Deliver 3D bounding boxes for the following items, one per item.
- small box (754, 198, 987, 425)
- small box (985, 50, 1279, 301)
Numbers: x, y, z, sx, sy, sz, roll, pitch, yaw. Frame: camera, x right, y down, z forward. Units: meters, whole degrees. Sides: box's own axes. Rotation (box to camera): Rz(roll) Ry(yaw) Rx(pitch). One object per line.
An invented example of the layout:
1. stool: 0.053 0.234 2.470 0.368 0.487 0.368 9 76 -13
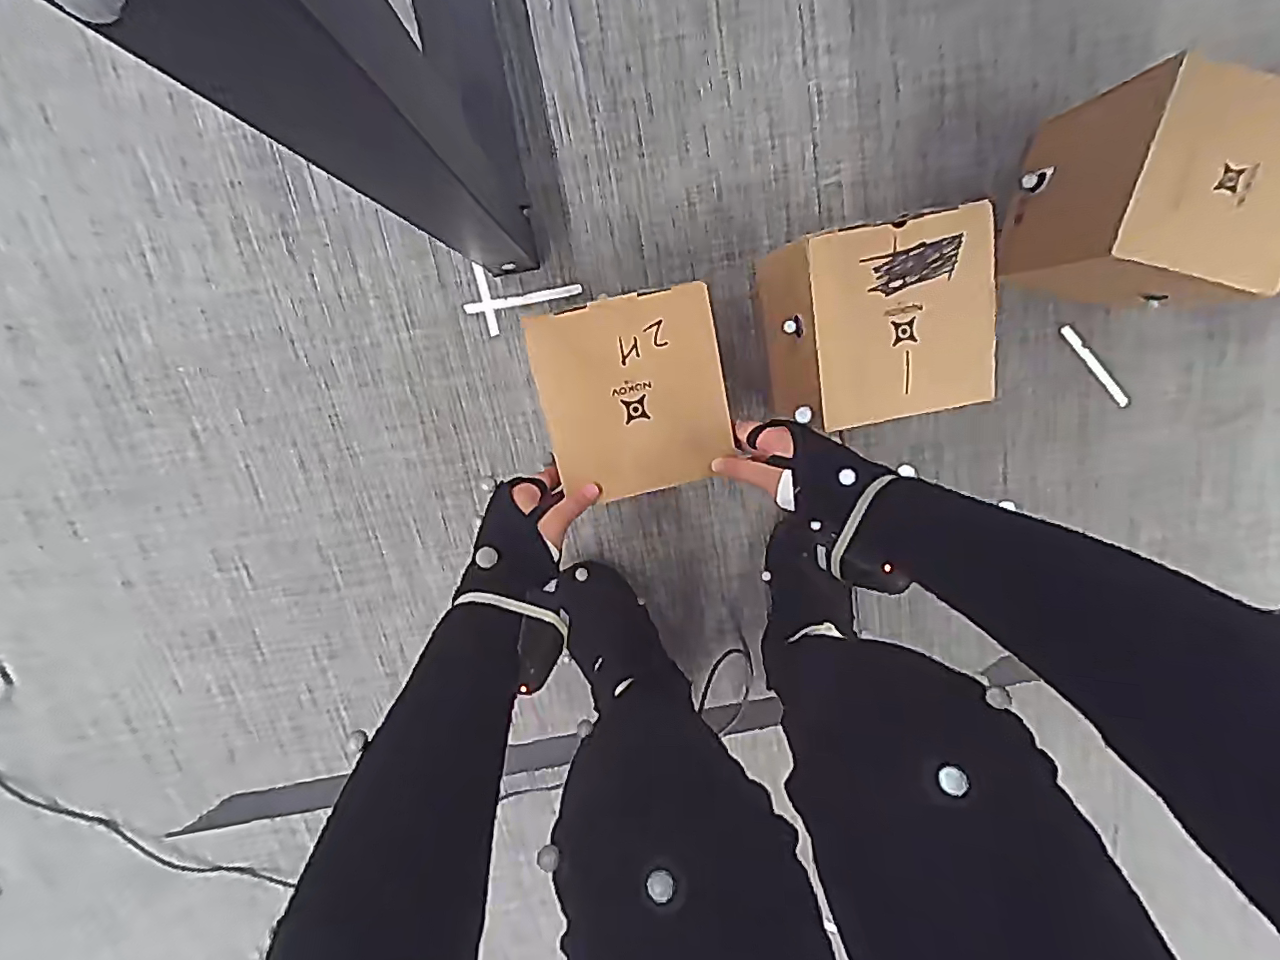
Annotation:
1. small box: 0.225 -0.167 0.563 0.168 0.176 0.179 -11 106 0
2. small box: 0.503 -0.284 0.551 0.179 0.176 0.168 10 103 -5
